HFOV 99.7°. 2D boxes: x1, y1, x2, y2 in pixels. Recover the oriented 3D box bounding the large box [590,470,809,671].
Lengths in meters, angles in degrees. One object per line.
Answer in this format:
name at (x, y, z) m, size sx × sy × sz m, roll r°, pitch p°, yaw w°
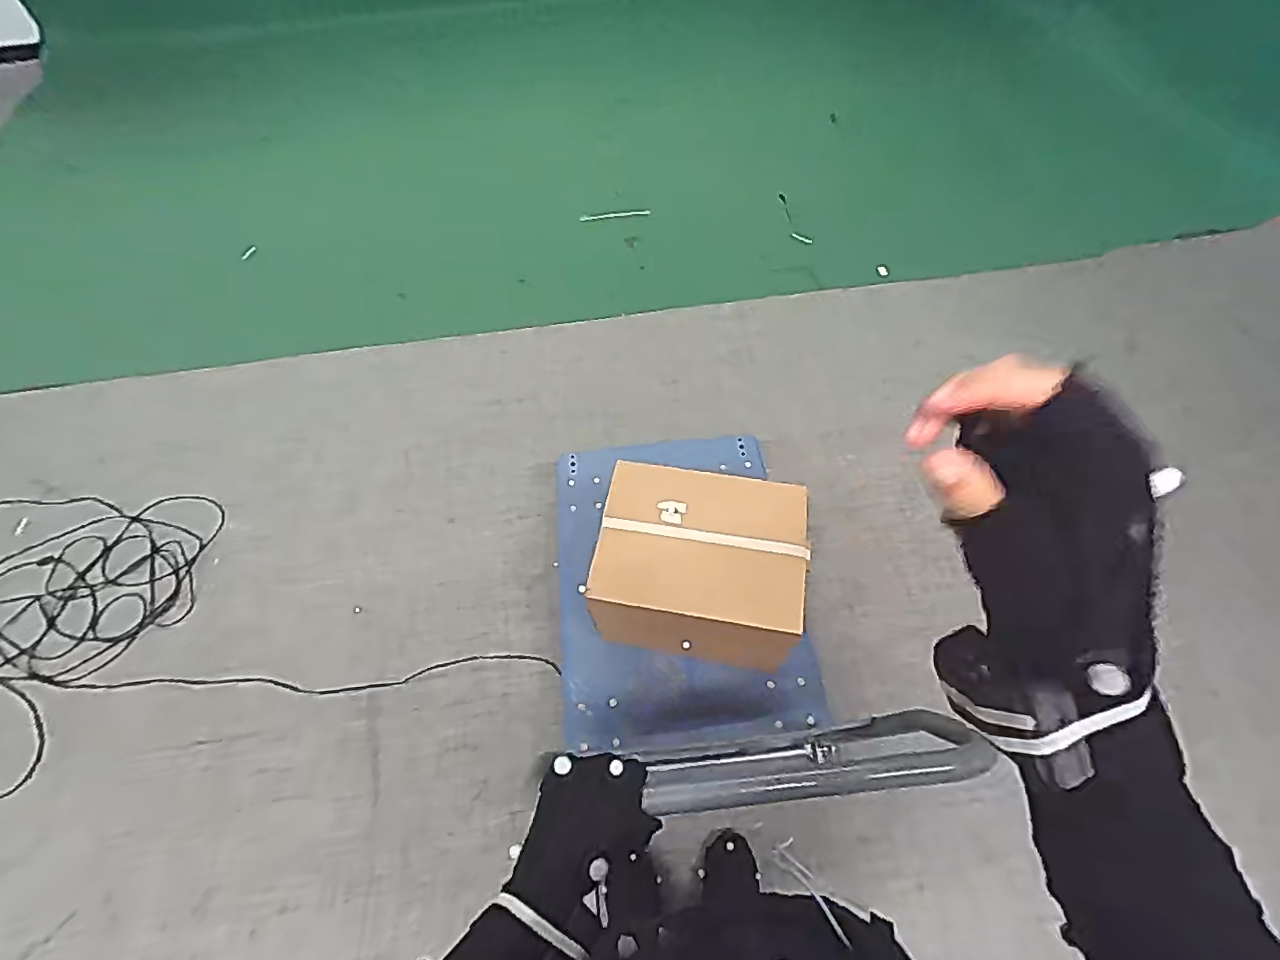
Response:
large box at (0.136, 0.206, 1.183) m, size 0.408 × 0.320 × 0.320 m, roll 7°, pitch 59°, yaw 8°
